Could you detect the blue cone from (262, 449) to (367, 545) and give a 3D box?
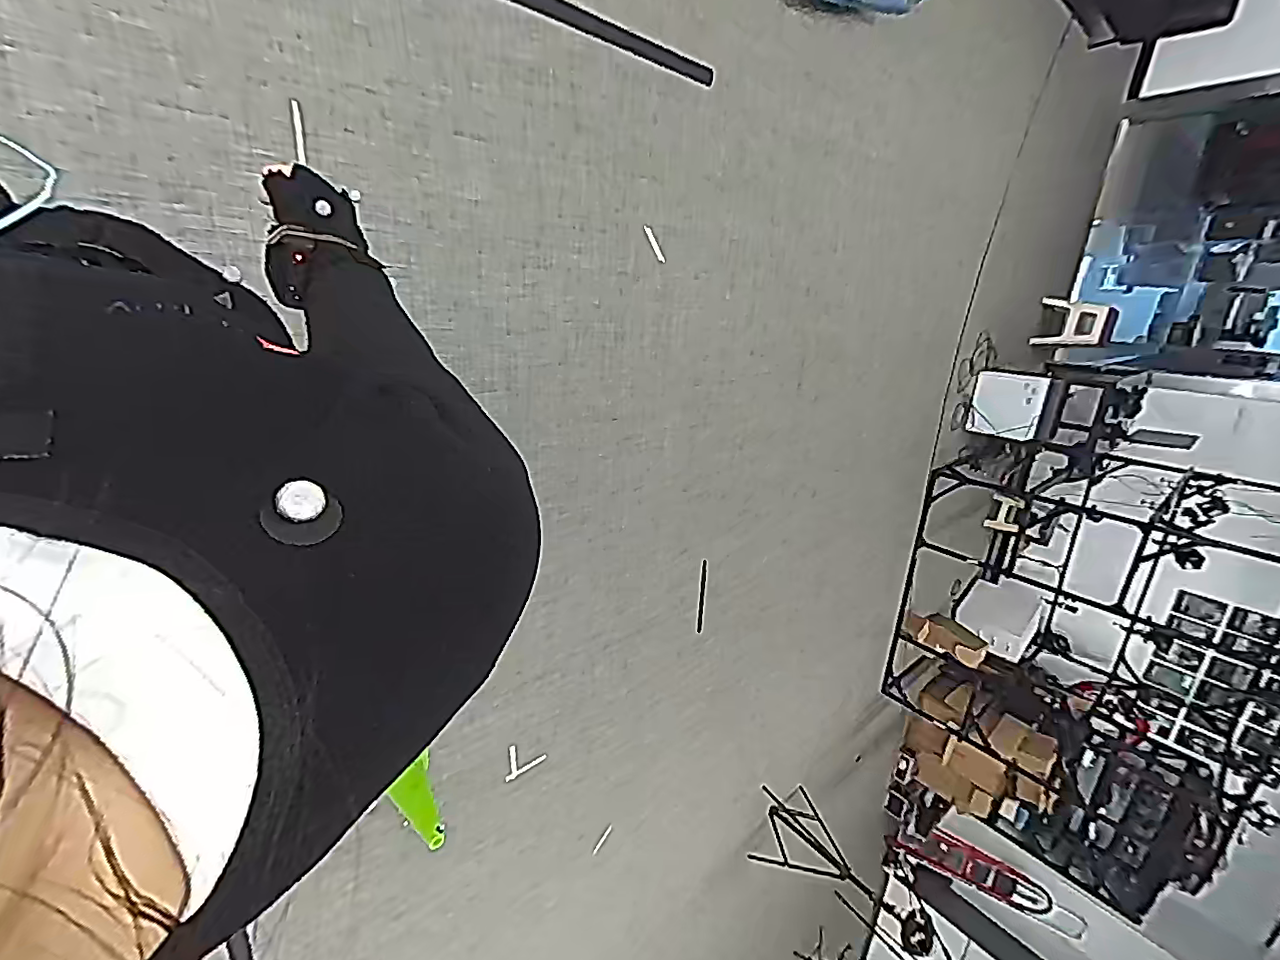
[{"bbox_3d":[-0.695,0.066,1.203,0.192,0.380,0.193,-7,111,-42],"label":"blue cone"}]
